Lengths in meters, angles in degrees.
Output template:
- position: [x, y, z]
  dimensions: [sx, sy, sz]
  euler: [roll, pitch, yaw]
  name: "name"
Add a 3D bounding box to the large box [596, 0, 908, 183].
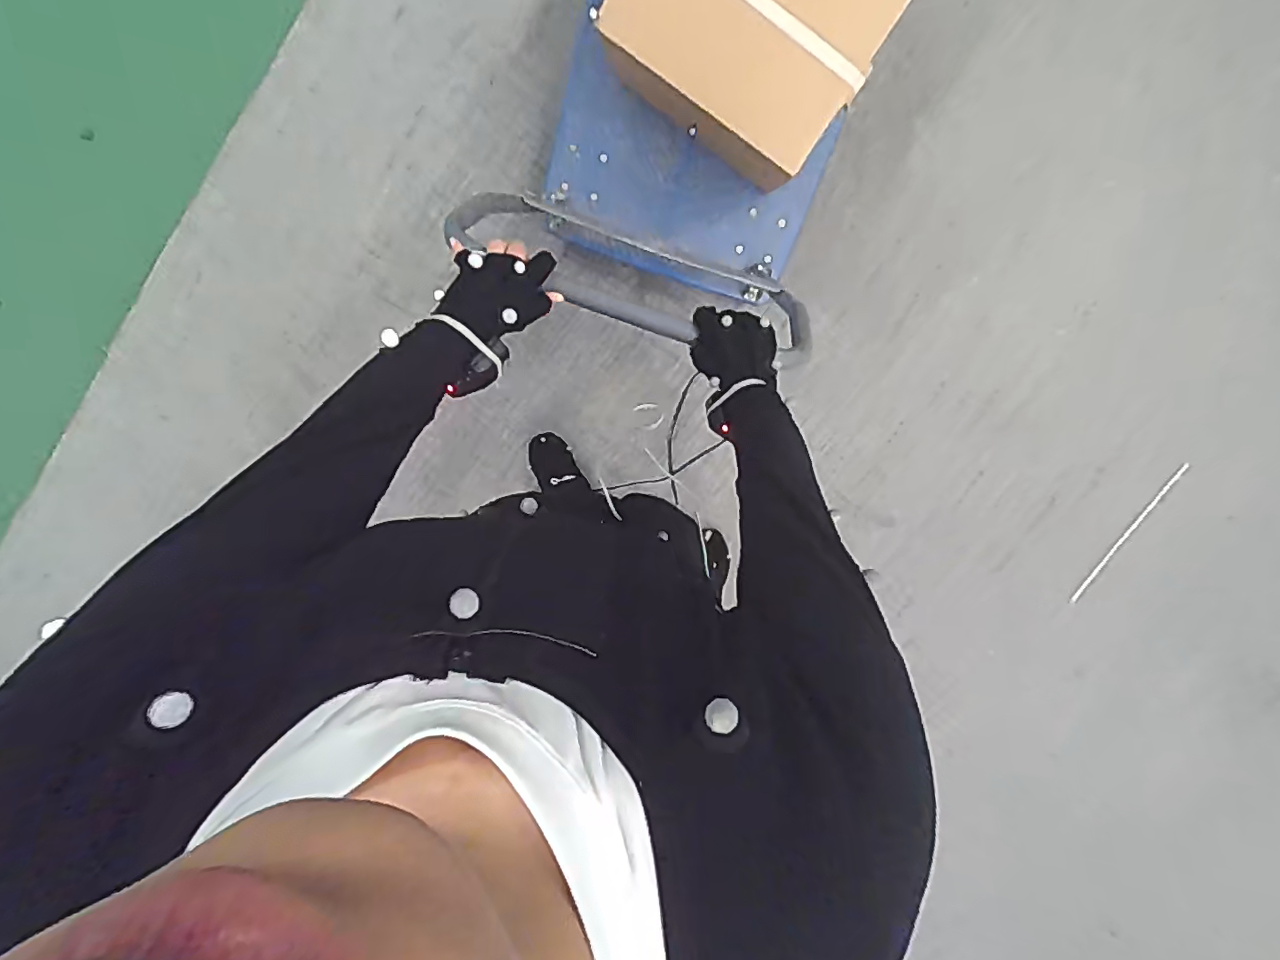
- position: [0.192, -0.800, 0.964]
  dimensions: [0.408, 0.320, 0.320]
  euler: [33, 113, -9]
  name: "large box"
